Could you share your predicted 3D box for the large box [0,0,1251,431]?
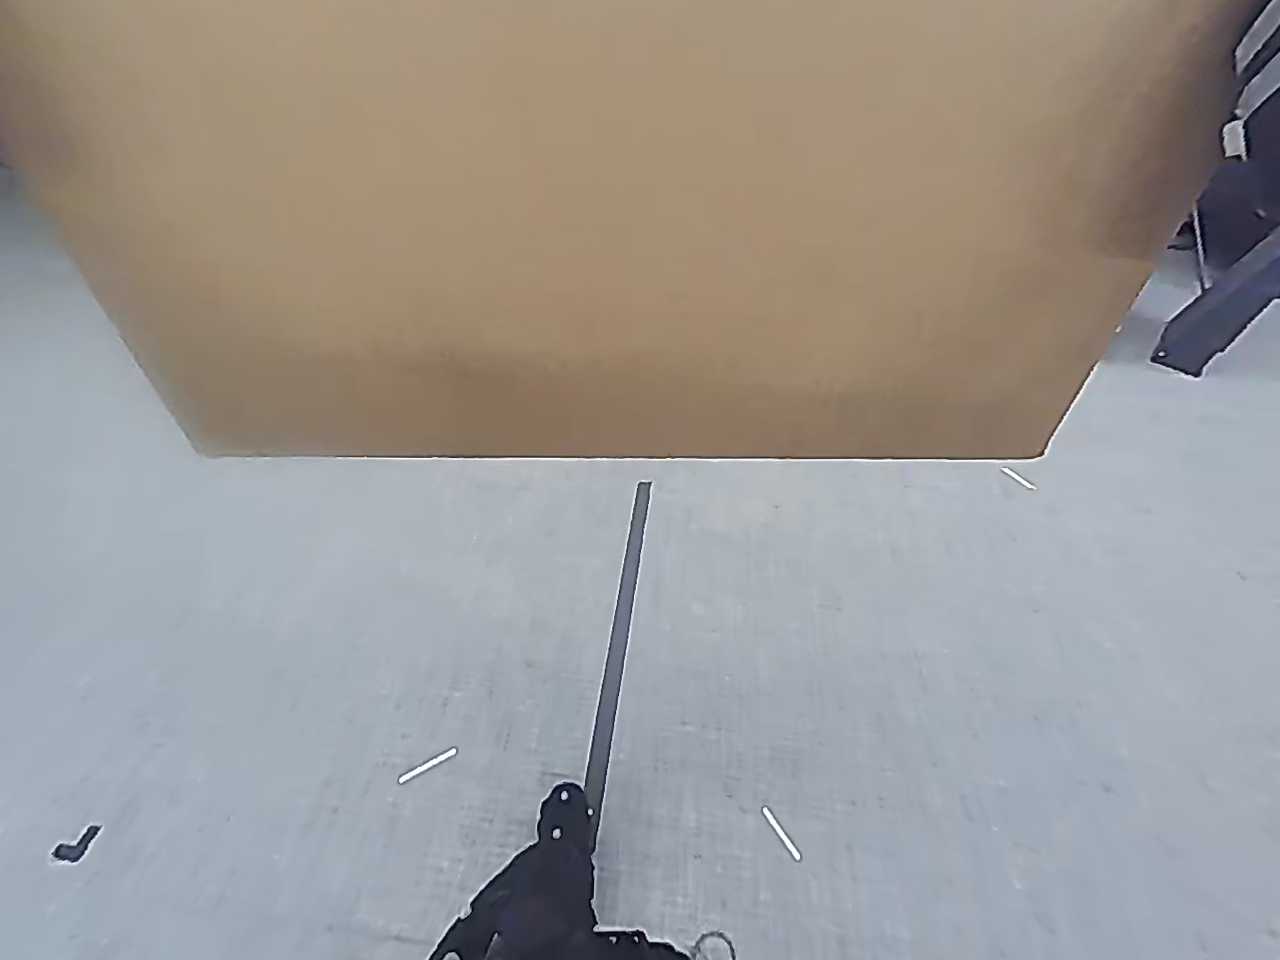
[{"bbox_3d":[-0.008,-0.234,0.287,0.408,0.320,0.320,1,40,-1],"label":"large box"}]
